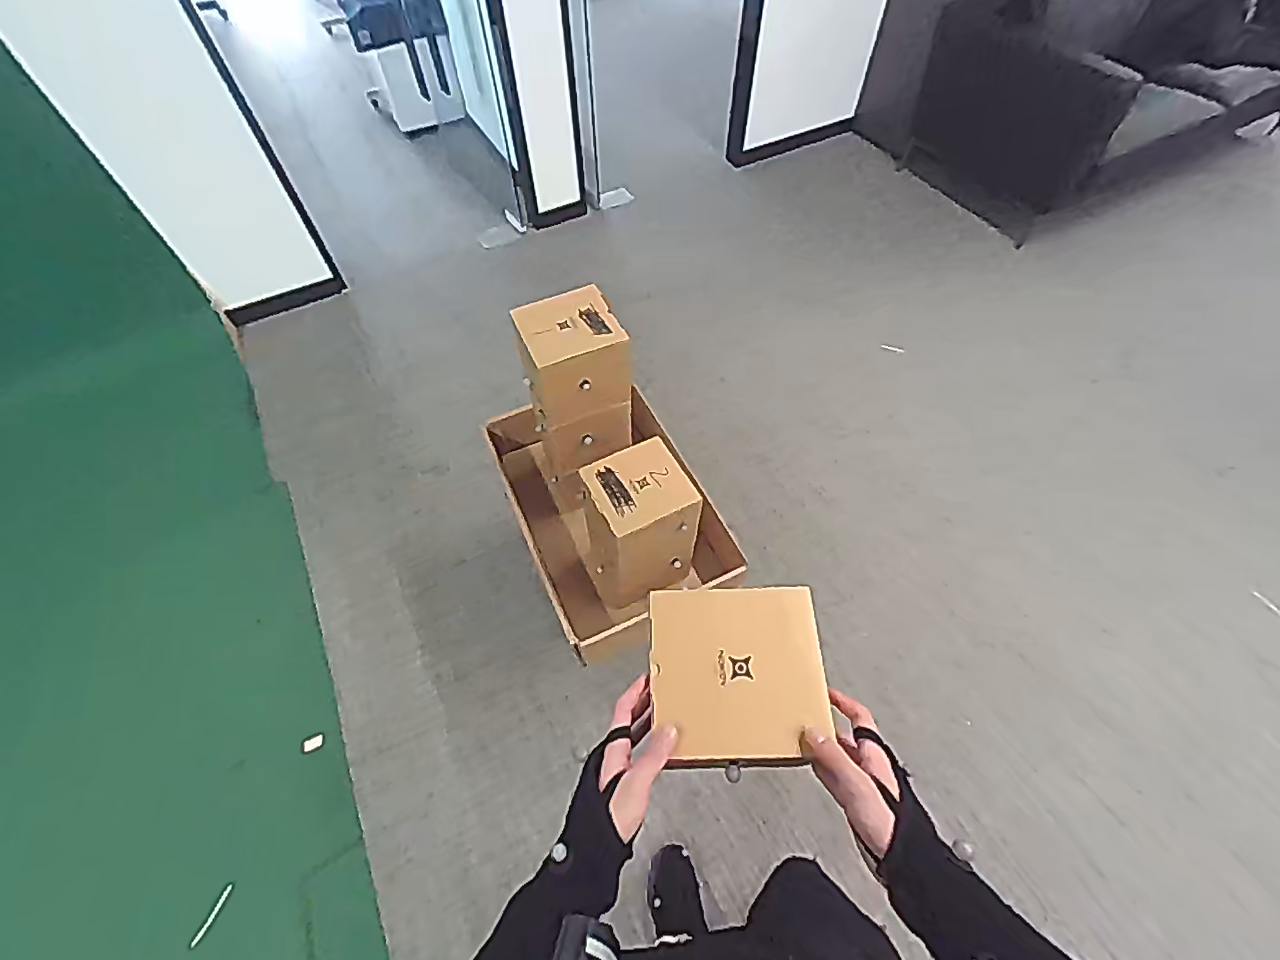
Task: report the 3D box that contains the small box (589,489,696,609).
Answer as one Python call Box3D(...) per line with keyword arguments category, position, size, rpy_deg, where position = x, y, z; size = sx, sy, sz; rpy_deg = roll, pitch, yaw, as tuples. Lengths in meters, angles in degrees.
Box3D(category="small box", position=(0.002, 0.153, 1.180), size=(0.179, 0.176, 0.168), rpy_deg=(-23, 58, -15))

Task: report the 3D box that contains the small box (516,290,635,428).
Box3D(category="small box", position=(-0.121, -0.230, 1.043), size=(0.179, 0.176, 0.168), rpy_deg=(-21, 60, -13))

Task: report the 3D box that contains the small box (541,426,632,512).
Box3D(category="small box", position=(-0.126, -0.047, 1.317), size=(0.179, 0.176, 0.168), rpy_deg=(-19, 59, -13))

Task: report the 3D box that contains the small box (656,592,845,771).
Box3D(category="small box", position=(0.107, 0.231, 0.610), size=(0.179, 0.176, 0.168), rpy_deg=(-2, 60, 2))

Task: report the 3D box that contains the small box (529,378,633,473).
Box3D(category="small box", position=(-0.123, -0.139, 1.181), size=(0.179, 0.176, 0.168), rpy_deg=(-21, 61, -13))
